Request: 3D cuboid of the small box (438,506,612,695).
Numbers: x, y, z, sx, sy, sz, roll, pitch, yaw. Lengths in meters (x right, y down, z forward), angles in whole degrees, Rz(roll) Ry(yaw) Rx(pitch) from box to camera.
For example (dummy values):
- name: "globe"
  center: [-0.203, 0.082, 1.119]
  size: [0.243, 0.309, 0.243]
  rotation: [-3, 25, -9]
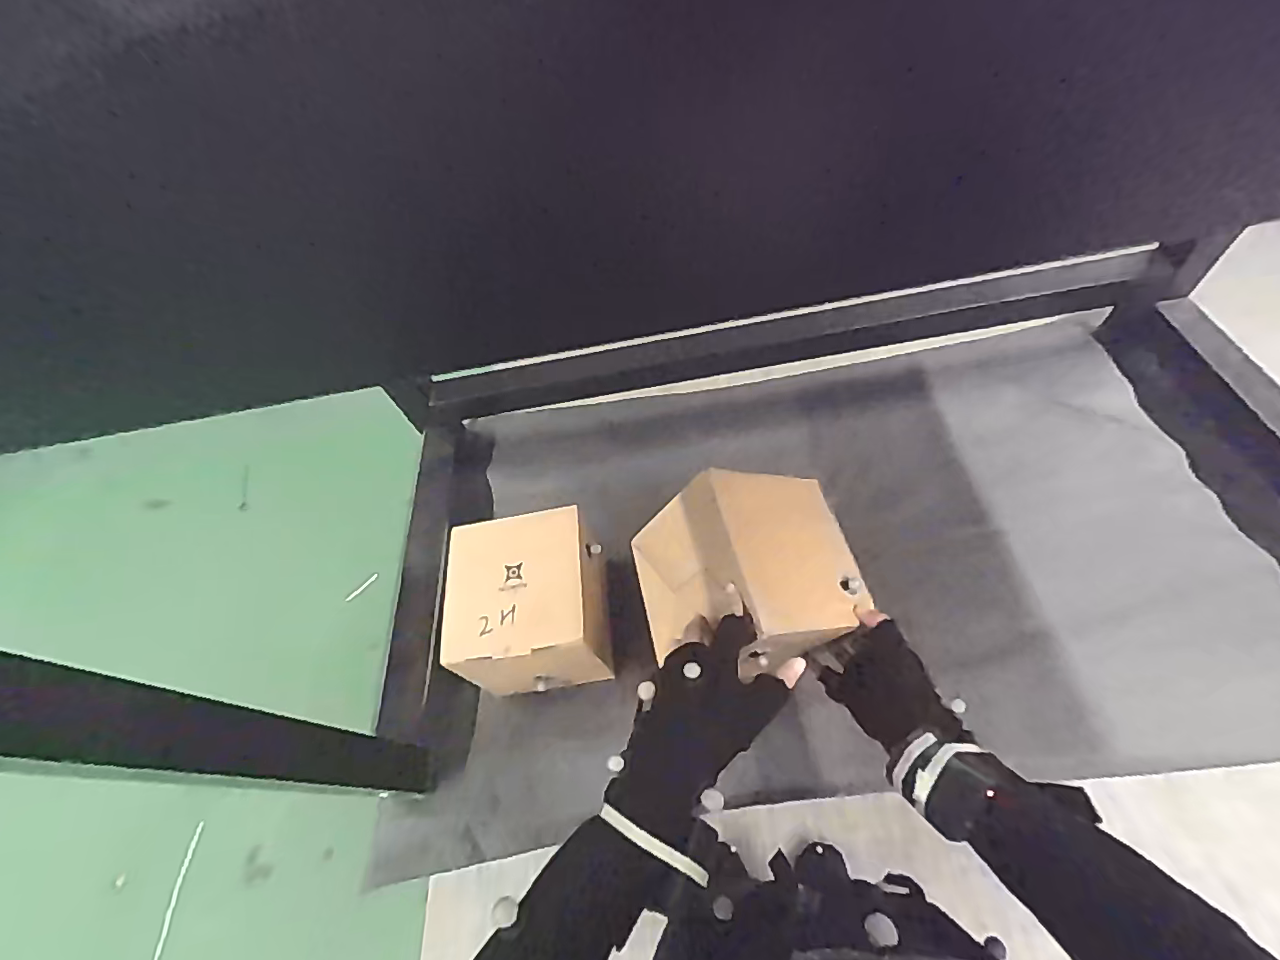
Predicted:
- name: "small box"
  center: [-0.136, 0.159, 0.696]
  size: [0.168, 0.176, 0.179]
  rotation: [-10, 55, 5]

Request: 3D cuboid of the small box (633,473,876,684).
- name: "small box"
  center: [0.110, 0.108, 0.591]
  size: [0.176, 0.168, 0.179]
  rotation: [7, 54, -31]
